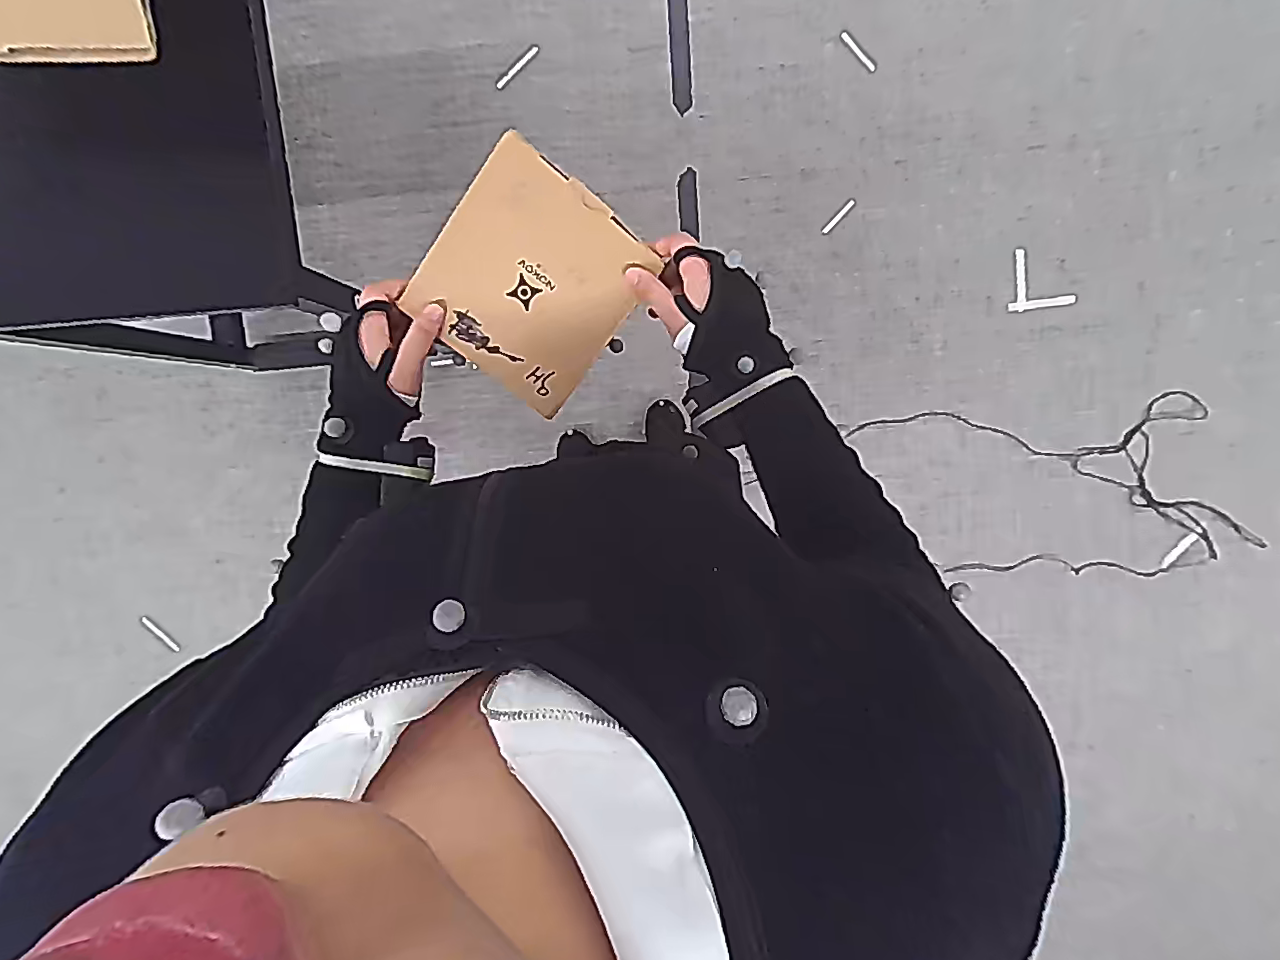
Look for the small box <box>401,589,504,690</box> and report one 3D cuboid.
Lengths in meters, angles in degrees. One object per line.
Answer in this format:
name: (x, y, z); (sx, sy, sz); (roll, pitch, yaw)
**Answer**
small box: (-0.438, 0.375, 1.300); (0.179, 0.176, 0.168); (-11, 96, 3)
